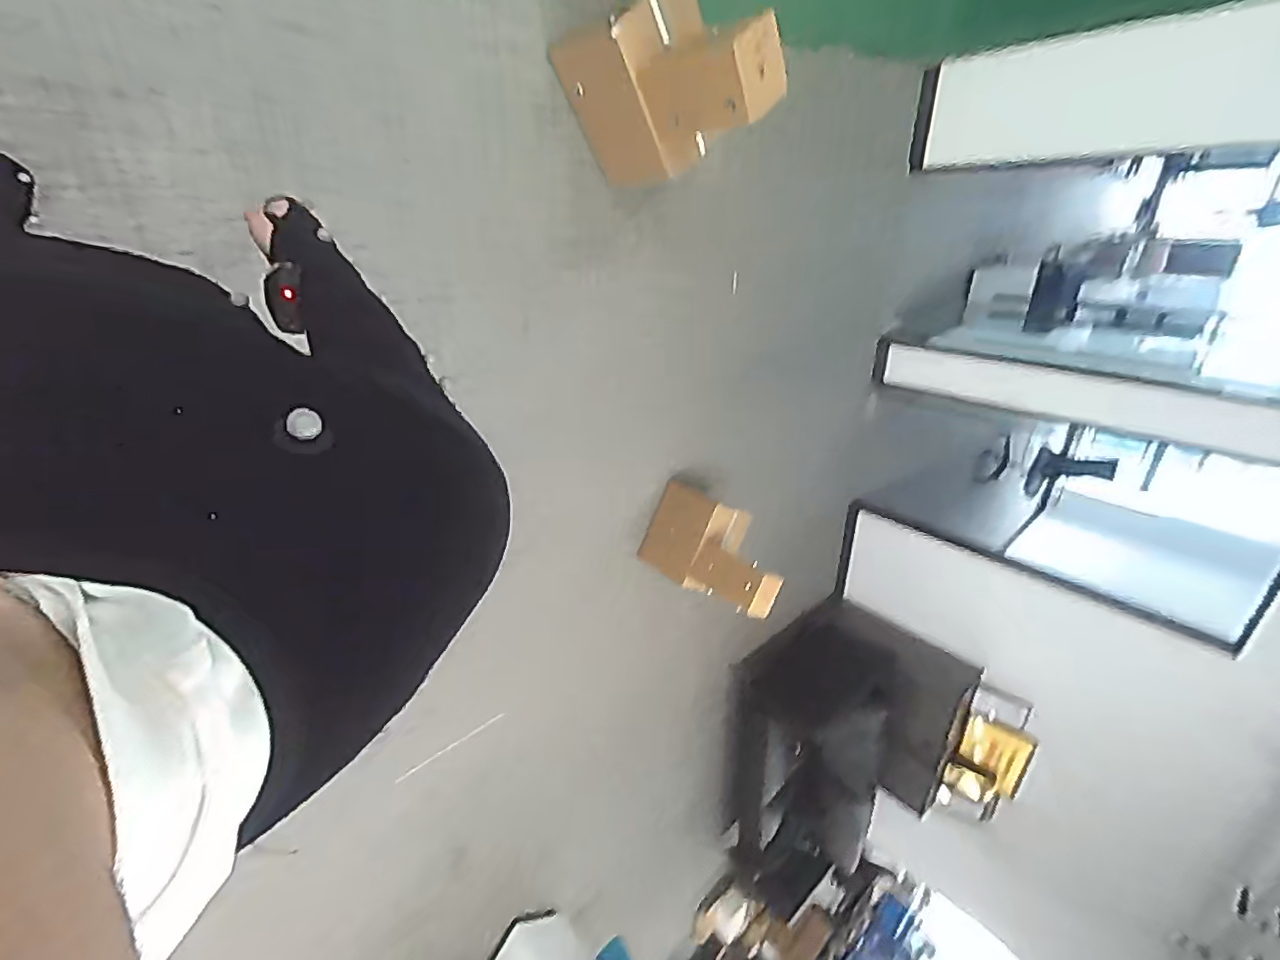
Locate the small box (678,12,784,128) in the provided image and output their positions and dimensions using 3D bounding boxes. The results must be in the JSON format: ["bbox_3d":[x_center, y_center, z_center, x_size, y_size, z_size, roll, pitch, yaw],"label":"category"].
[{"bbox_3d":[0.224,-0.997,1.332,0.168,0.176,0.179,-48,135,-17],"label":"small box"}]

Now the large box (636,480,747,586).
[{"bbox_3d":[0.240,0.255,2.571,0.320,0.320,0.408,17,96,-48],"label":"large box"}]

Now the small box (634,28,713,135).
[{"bbox_3d":[0.117,-1.052,1.444,0.168,0.176,0.179,-49,135,-15],"label":"small box"}]

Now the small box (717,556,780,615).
[{"bbox_3d":[0.445,0.439,2.256,0.168,0.176,0.179,23,91,-46],"label":"small box"}]
